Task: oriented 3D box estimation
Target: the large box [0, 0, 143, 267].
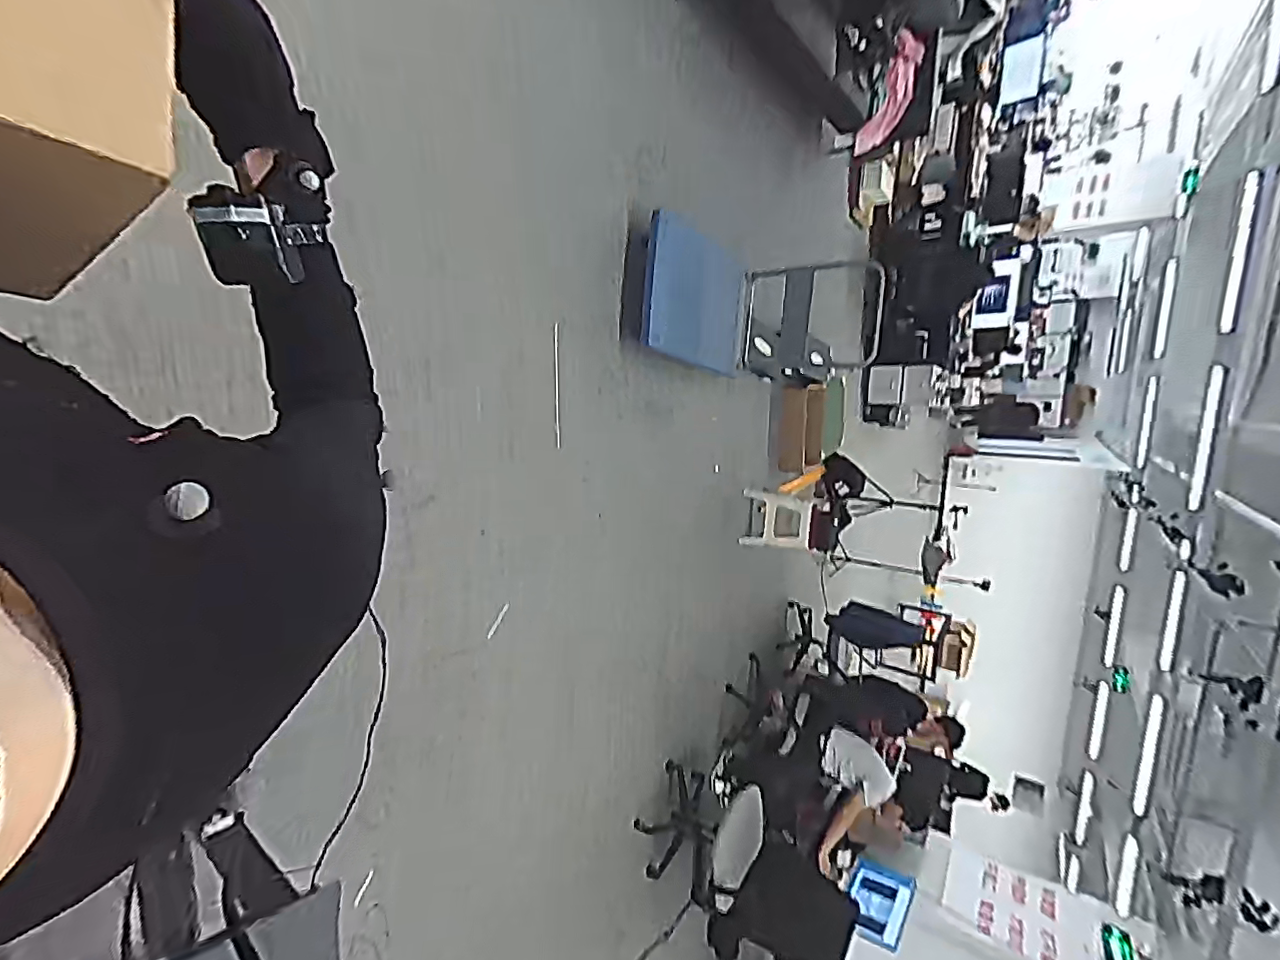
[{"bbox_3d":[-0.523,-0.331,0.230,0.408,0.320,0.320,0,88,-57],"label":"large box"}]
